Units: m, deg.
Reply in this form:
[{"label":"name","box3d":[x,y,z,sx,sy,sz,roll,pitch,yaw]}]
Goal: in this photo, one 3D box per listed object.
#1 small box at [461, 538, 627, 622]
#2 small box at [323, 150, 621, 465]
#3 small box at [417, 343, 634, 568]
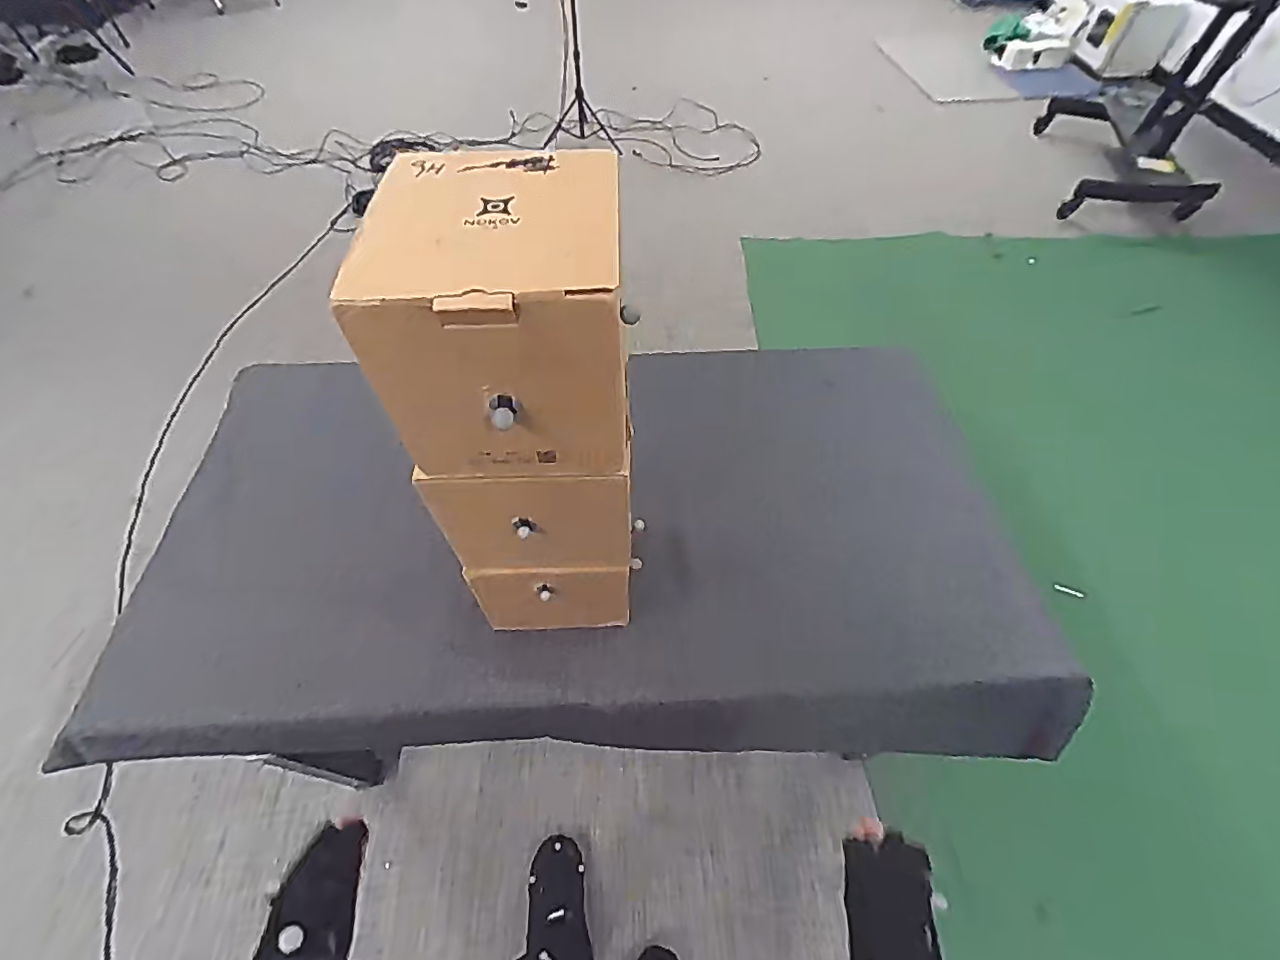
[{"label":"small box","box3d":[-0.107,0.072,0.680,0.179,0.176,0.168,-1,56,-3]},{"label":"small box","box3d":[-0.100,-0.123,0.417,0.168,0.176,0.179,-1,56,-1]},{"label":"small box","box3d":[-0.100,-0.022,0.546,0.179,0.176,0.168,-3,56,-4]}]
